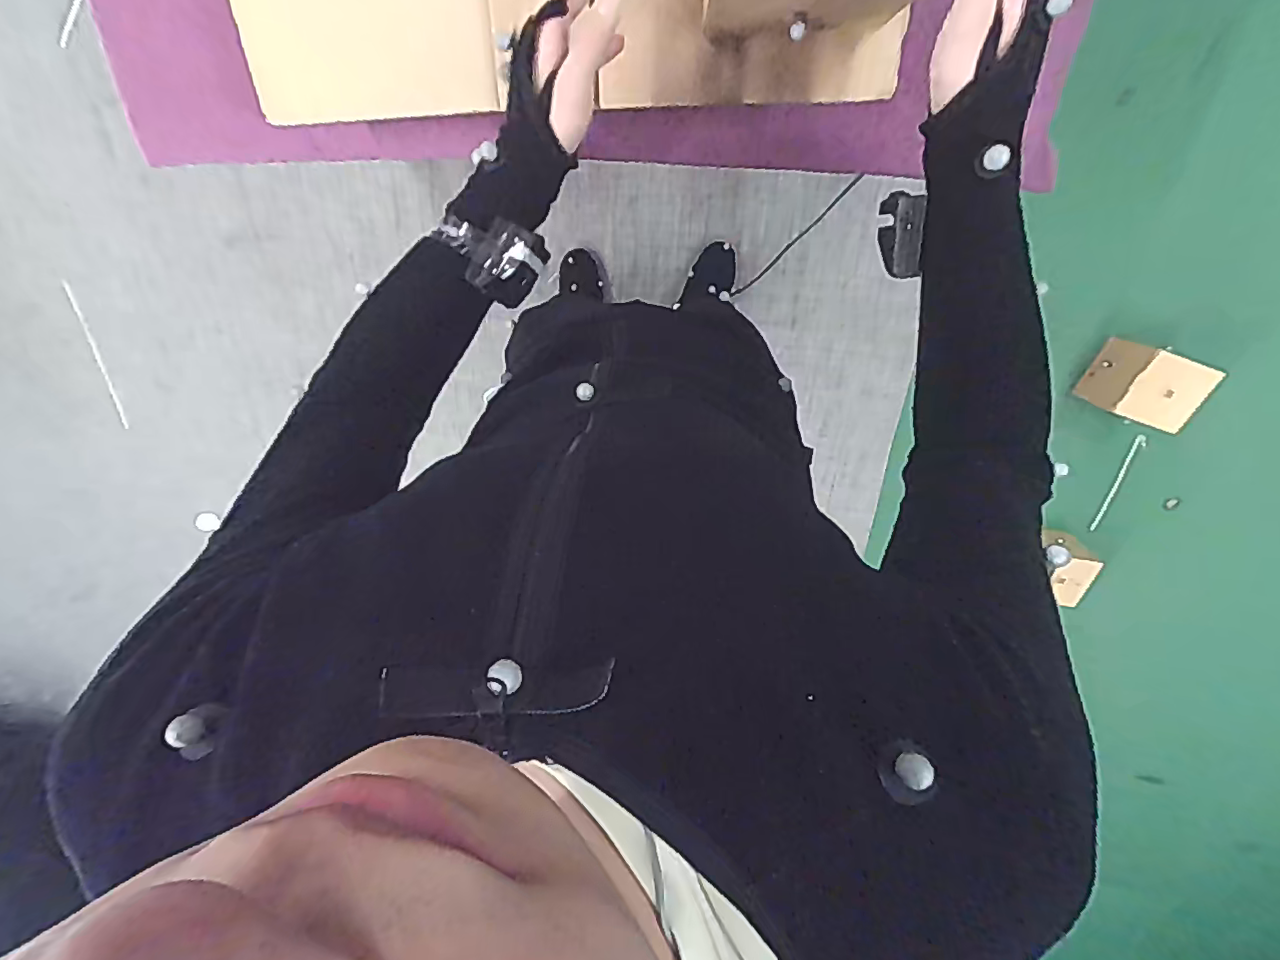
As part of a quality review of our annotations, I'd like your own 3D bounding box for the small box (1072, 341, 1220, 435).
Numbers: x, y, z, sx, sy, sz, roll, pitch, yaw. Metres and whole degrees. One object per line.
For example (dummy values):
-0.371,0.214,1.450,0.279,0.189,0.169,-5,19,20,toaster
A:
1.275,-0.241,1.379,0.179,0.176,0.168,19,117,-2,small box
